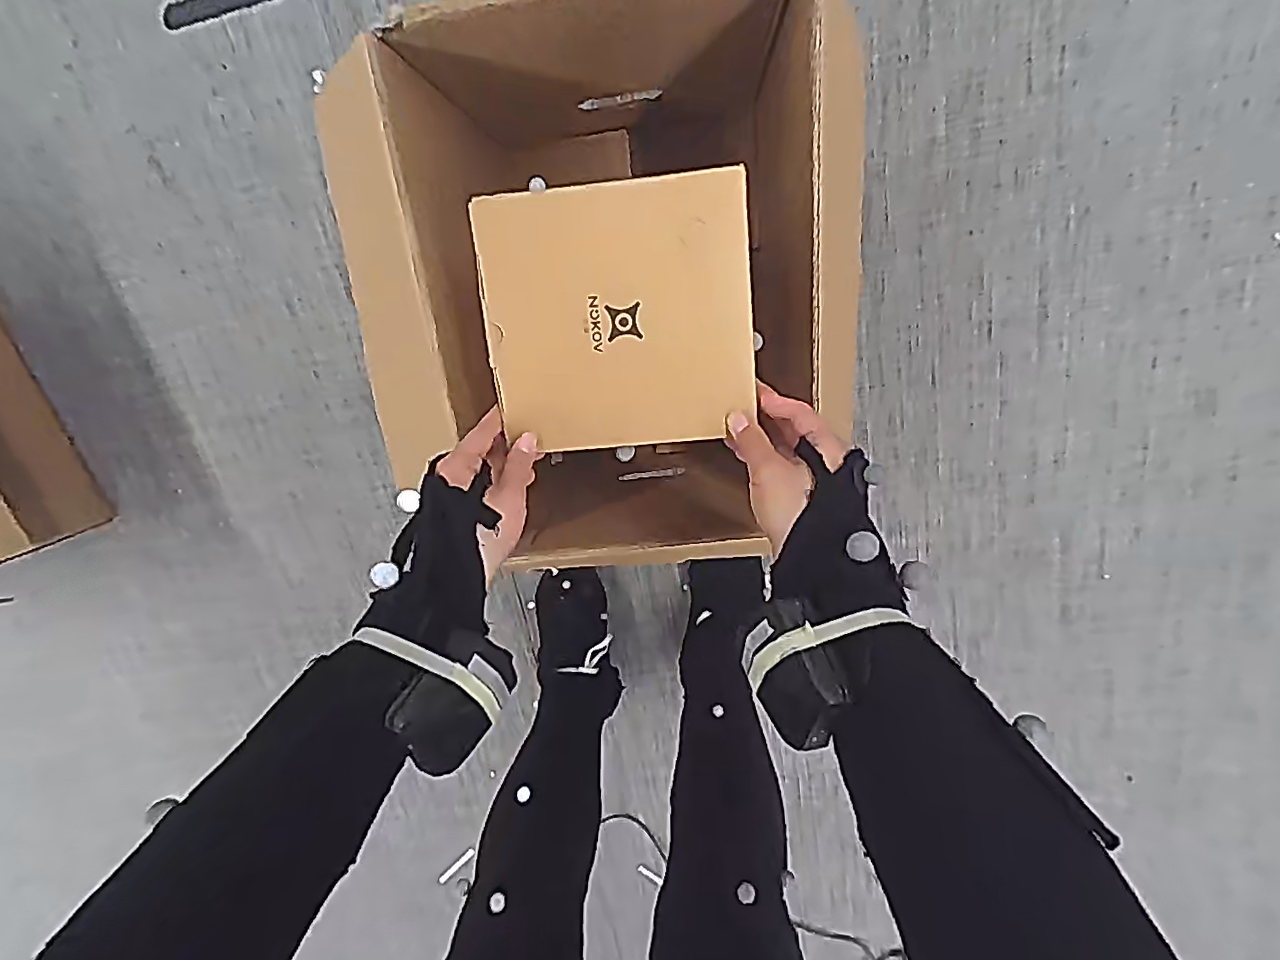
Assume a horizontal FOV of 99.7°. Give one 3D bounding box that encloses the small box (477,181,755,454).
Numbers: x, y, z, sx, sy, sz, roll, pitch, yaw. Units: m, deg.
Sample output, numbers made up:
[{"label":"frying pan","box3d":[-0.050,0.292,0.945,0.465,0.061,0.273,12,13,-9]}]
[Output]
[{"label":"small box","box3d":[-0.008,-0.122,0.438,0.179,0.176,0.168,-4,103,6]}]
